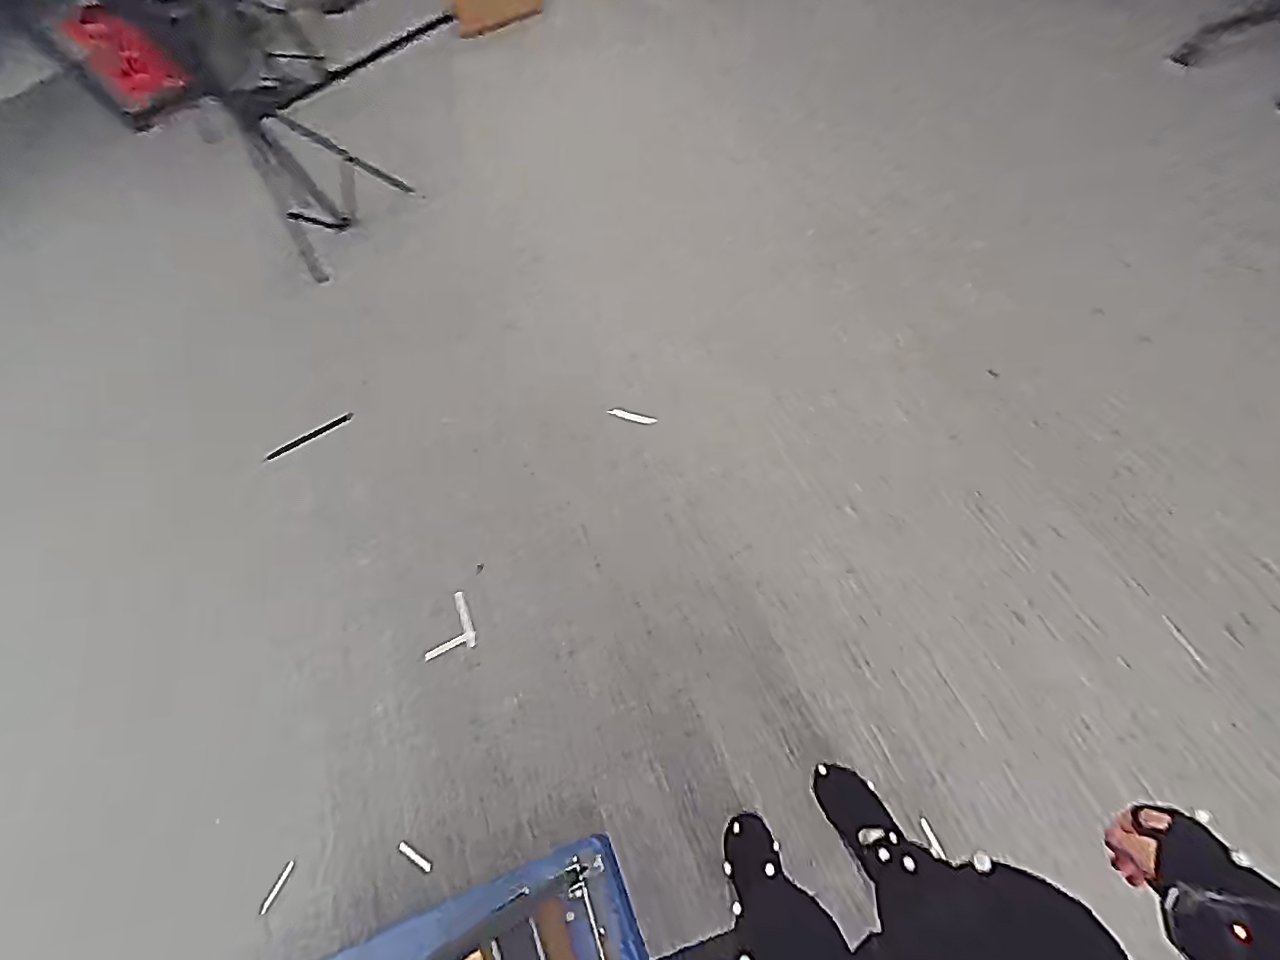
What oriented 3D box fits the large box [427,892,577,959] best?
[{"bbox_3d":[-0.256,0.995,0.875,0.320,0.320,0.408,-29,60,0],"label":"large box"}]
